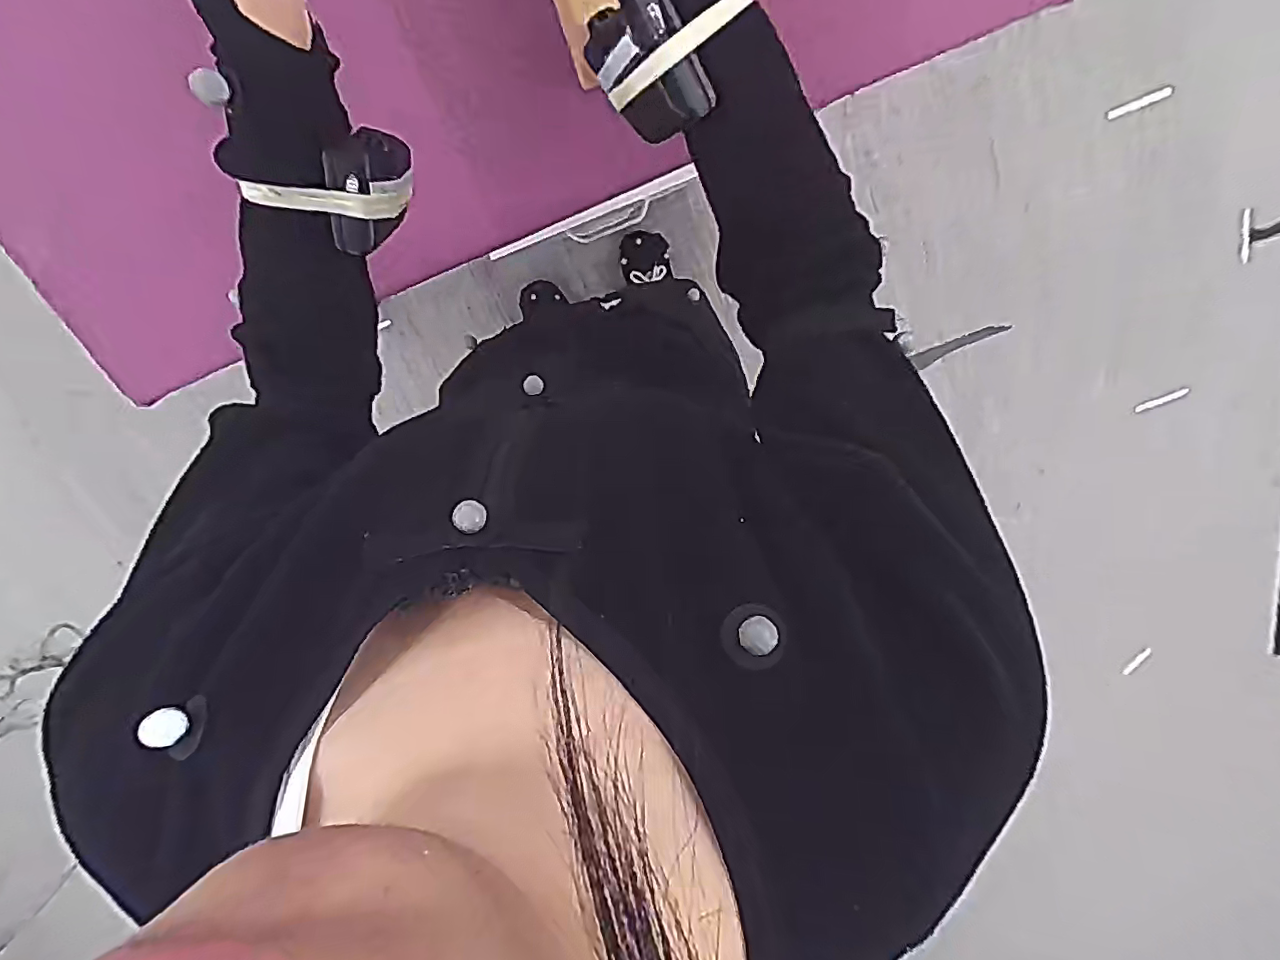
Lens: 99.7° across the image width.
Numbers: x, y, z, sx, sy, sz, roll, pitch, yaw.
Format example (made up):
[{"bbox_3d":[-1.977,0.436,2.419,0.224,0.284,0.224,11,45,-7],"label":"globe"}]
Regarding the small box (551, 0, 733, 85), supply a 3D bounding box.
[{"bbox_3d":[-0.013,-0.503,0.485,0.168,0.176,0.179,-19,112,4],"label":"small box"}]
